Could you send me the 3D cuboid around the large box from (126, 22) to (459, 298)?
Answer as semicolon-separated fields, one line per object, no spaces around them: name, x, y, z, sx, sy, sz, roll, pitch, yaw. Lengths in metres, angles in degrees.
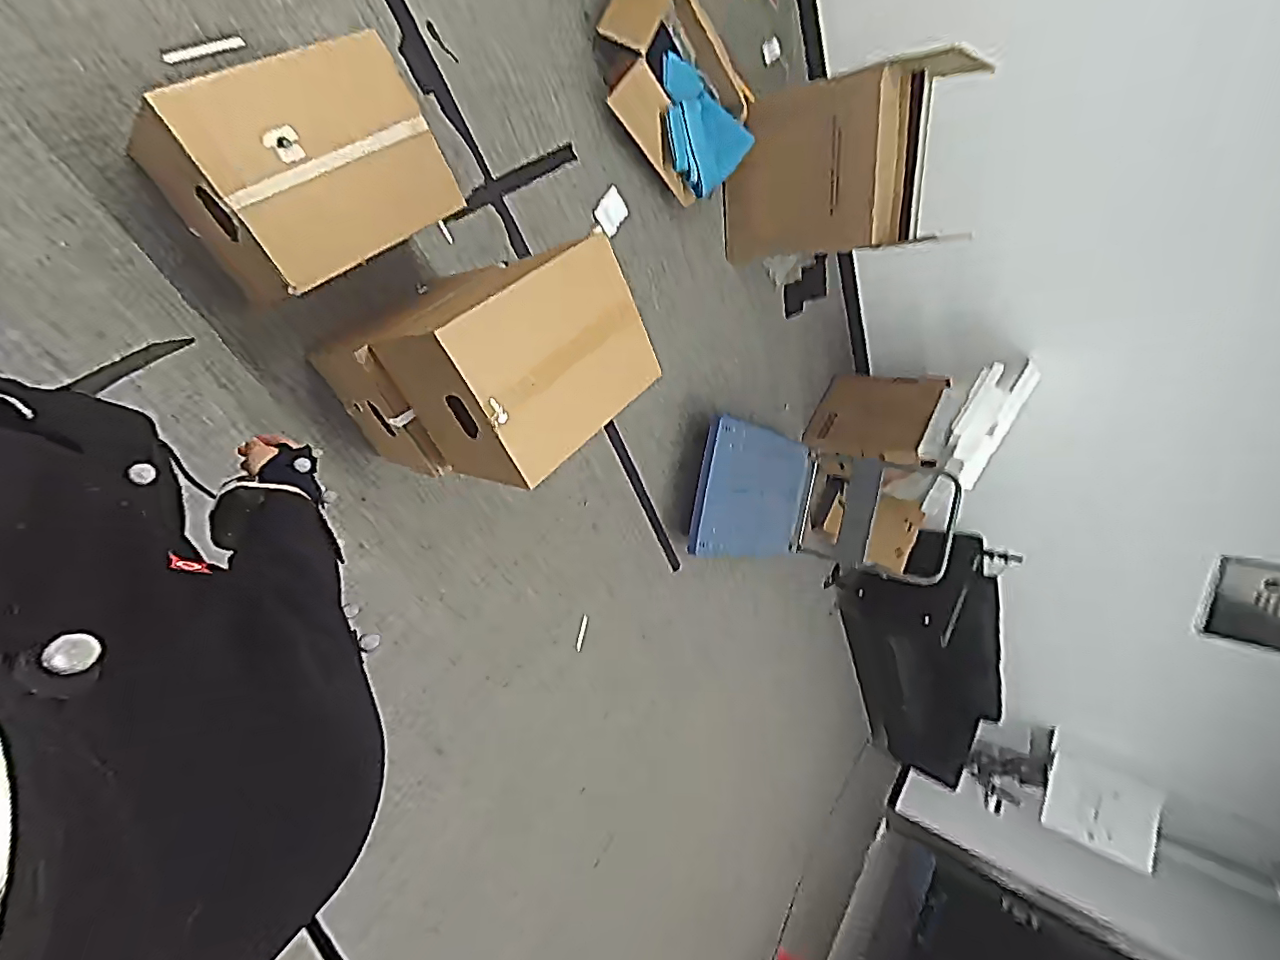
large box;-0.648;-0.593;1.045;0.408;0.320;0.320;-47;129;-28
